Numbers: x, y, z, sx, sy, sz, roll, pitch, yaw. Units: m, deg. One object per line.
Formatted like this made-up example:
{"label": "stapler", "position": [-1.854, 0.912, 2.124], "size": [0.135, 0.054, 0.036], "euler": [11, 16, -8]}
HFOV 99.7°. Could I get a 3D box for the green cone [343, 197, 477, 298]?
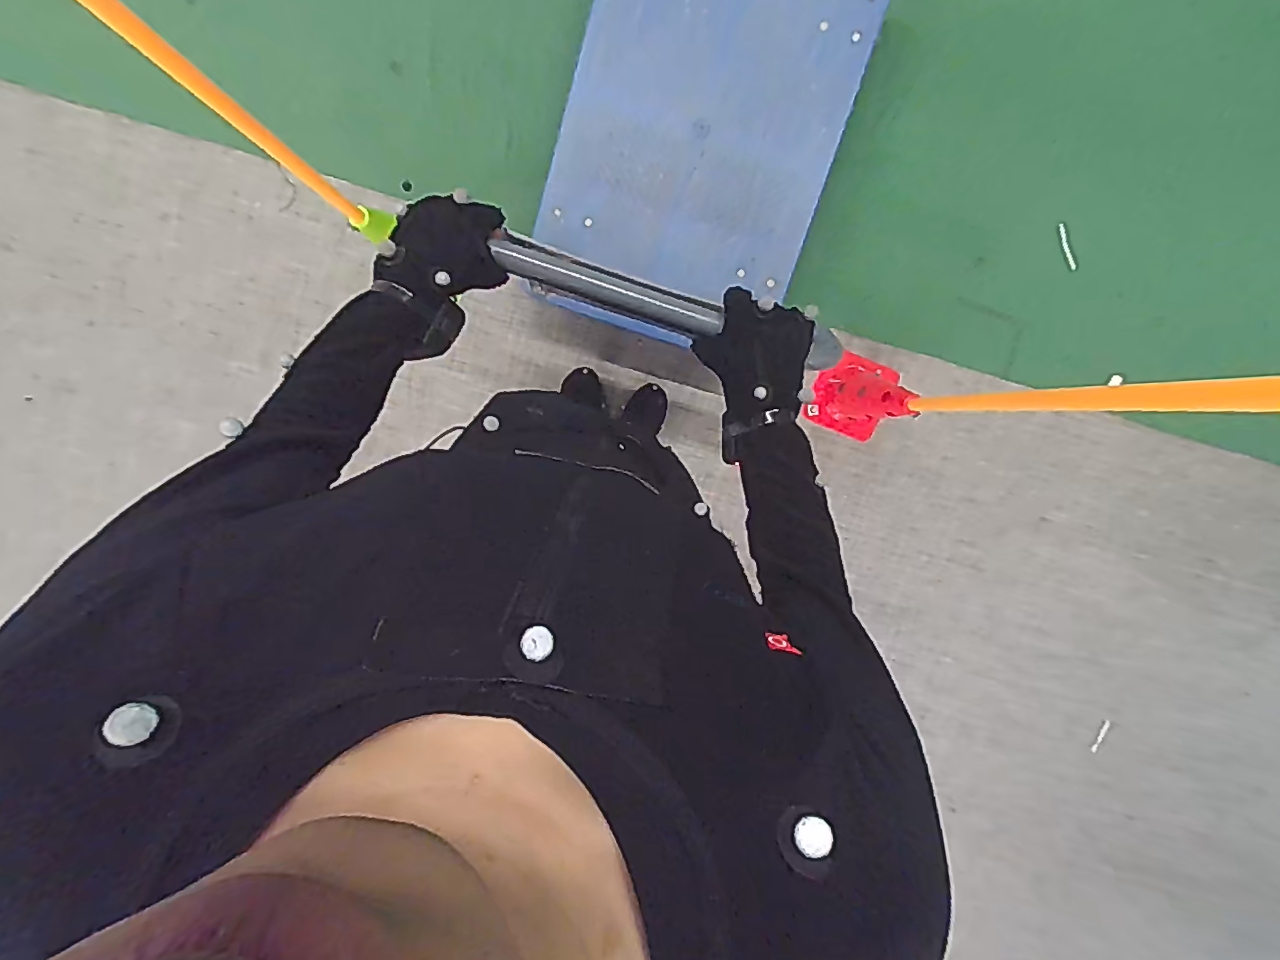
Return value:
{"label": "green cone", "position": [-0.535, -0.553, 1.201], "size": [0.202, 0.368, 0.200], "euler": [21, 101, -2]}
